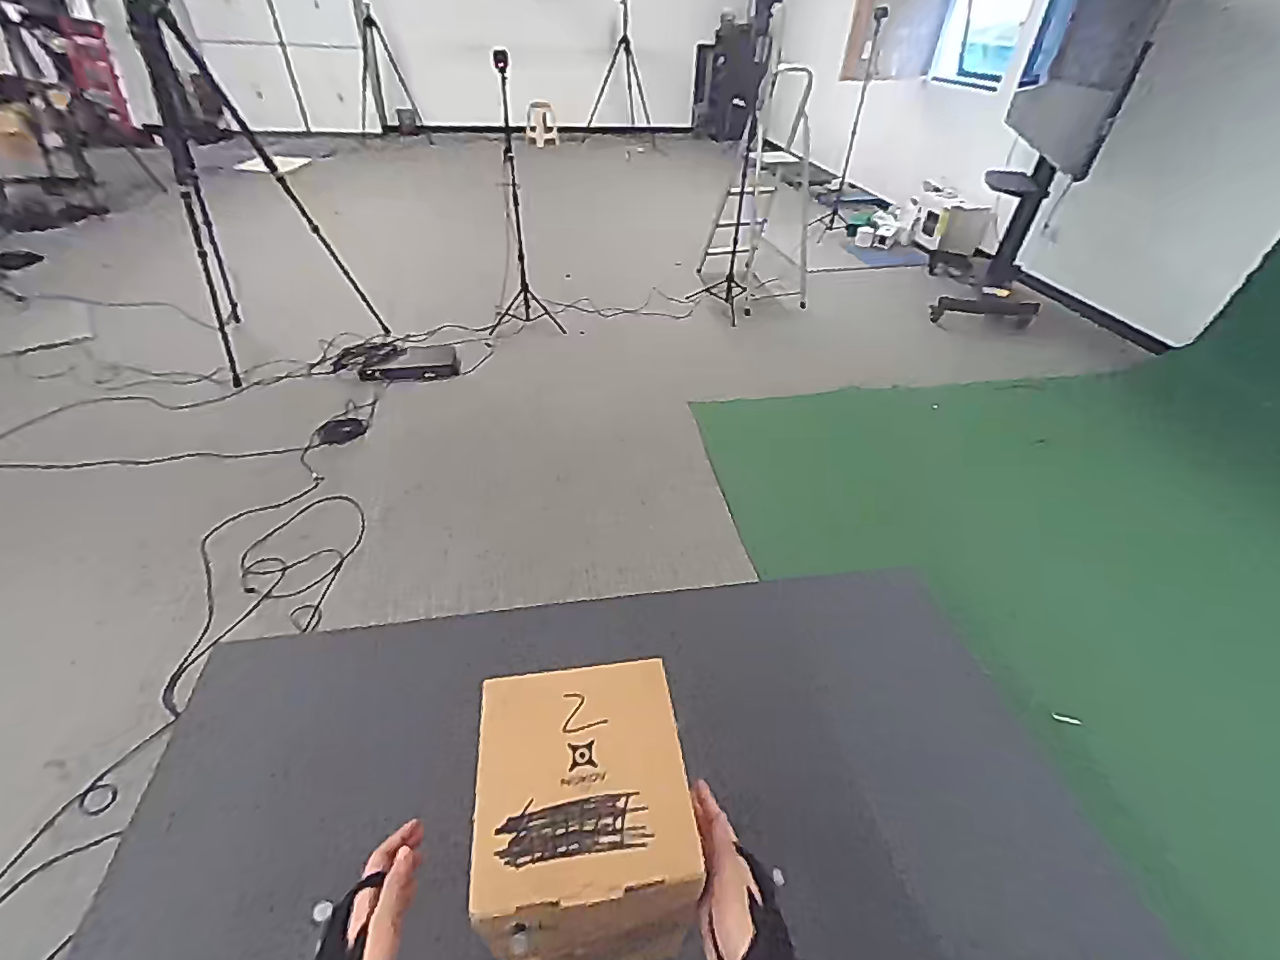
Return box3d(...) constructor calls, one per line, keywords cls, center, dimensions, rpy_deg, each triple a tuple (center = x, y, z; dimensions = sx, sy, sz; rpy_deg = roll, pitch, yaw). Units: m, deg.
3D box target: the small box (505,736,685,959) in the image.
box3d(cls="small box", center=(-0.056, 0.419, 0.598), dimensions=(0.168, 0.176, 0.179), rpy_deg=(-7, 42, -9))
